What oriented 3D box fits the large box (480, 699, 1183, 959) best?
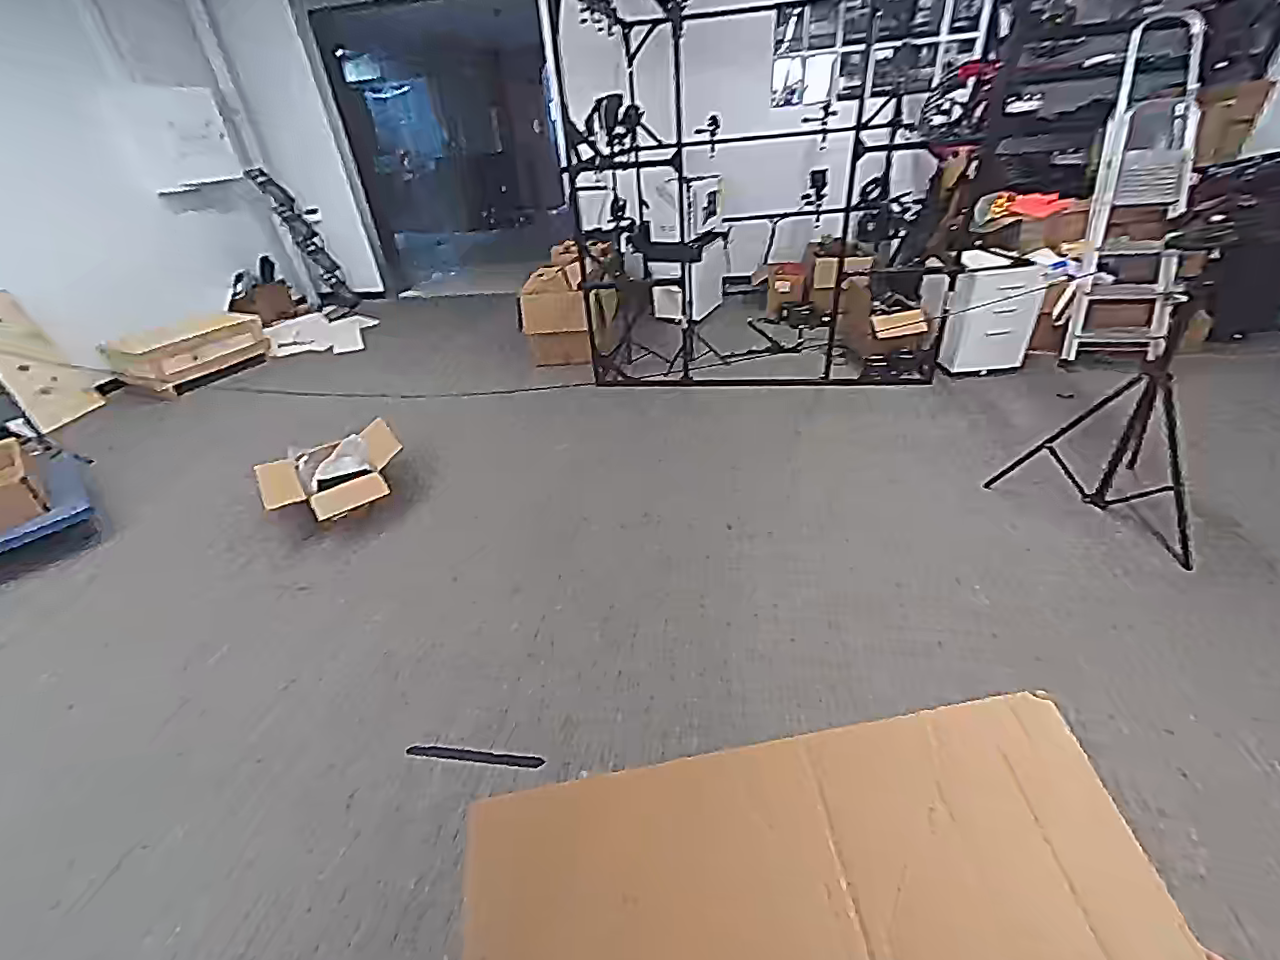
[{"bbox_3d":[0.128,0.405,0.407,0.408,0.320,0.320,-14,53,2],"label":"large box"}]
